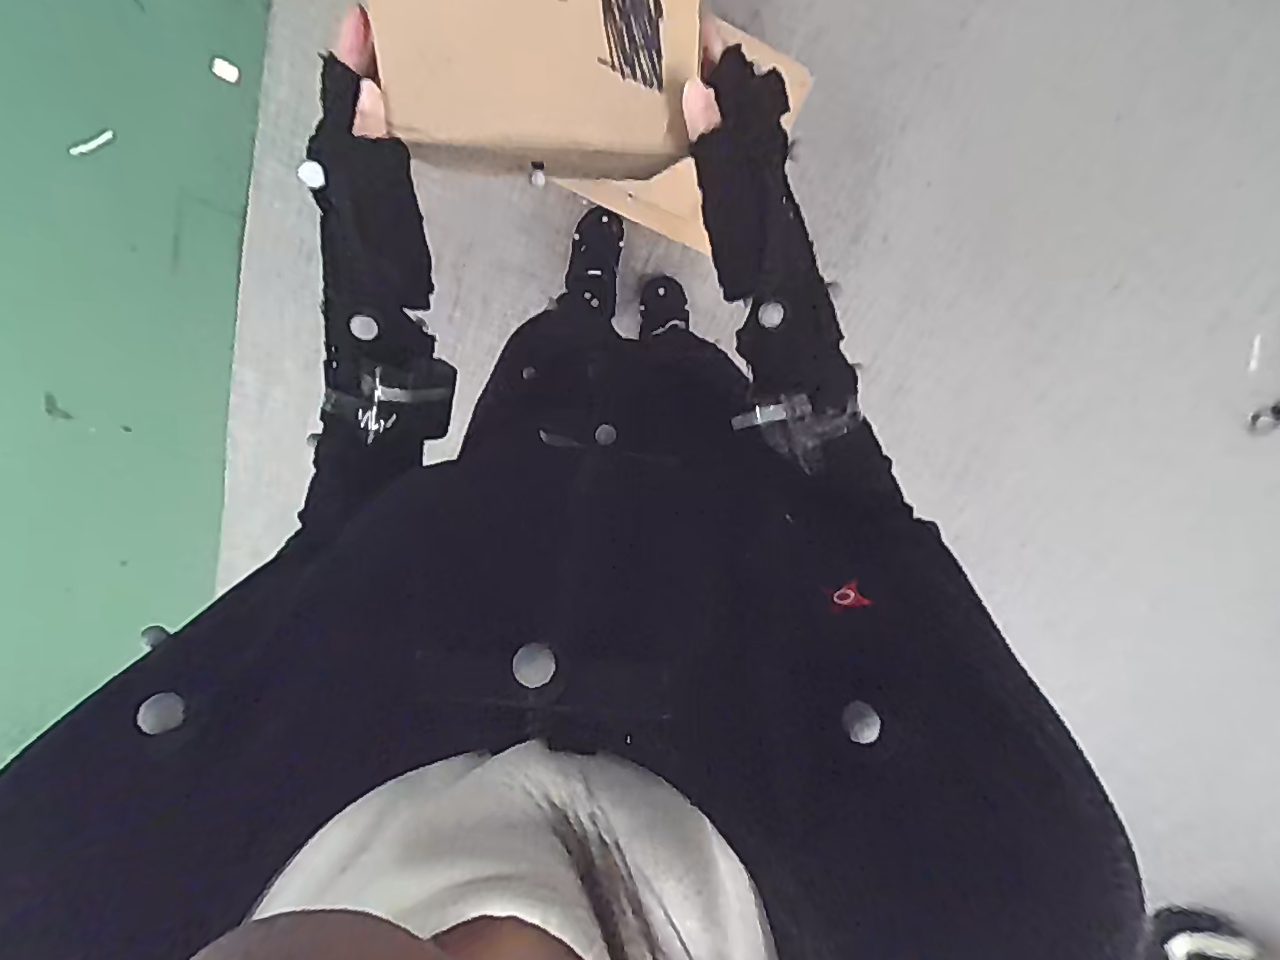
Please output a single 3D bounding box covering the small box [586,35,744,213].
[{"bbox_3d":[0.036,-0.523,0.822,0.179,0.176,0.168,21,117,-7],"label":"small box"}]
